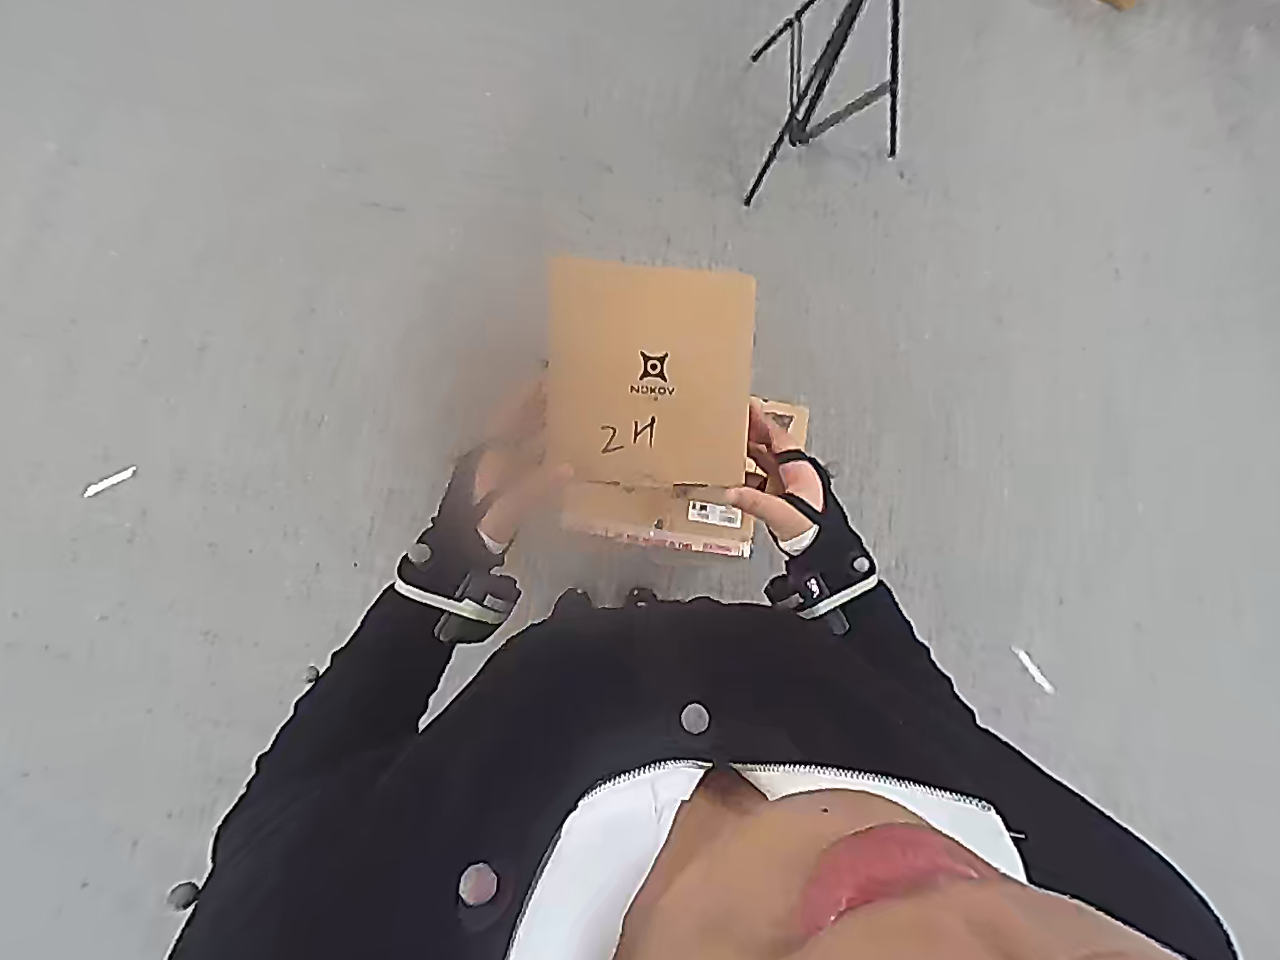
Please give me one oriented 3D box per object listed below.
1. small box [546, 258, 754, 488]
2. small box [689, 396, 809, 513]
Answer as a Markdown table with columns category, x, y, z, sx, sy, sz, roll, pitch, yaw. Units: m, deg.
| category | x | y | z | sx | sy | sz | roll | pitch | yaw |
| --- | --- | --- | --- | --- | --- | --- | --- | --- | --- |
| small box | -0.002 | -0.087 | 0.513 | 0.168 | 0.176 | 0.179 | 2 | 94 | -8 |
| small box | 0.197 | -0.045 | 1.018 | 0.168 | 0.176 | 0.179 | 12 | 79 | -4 |
